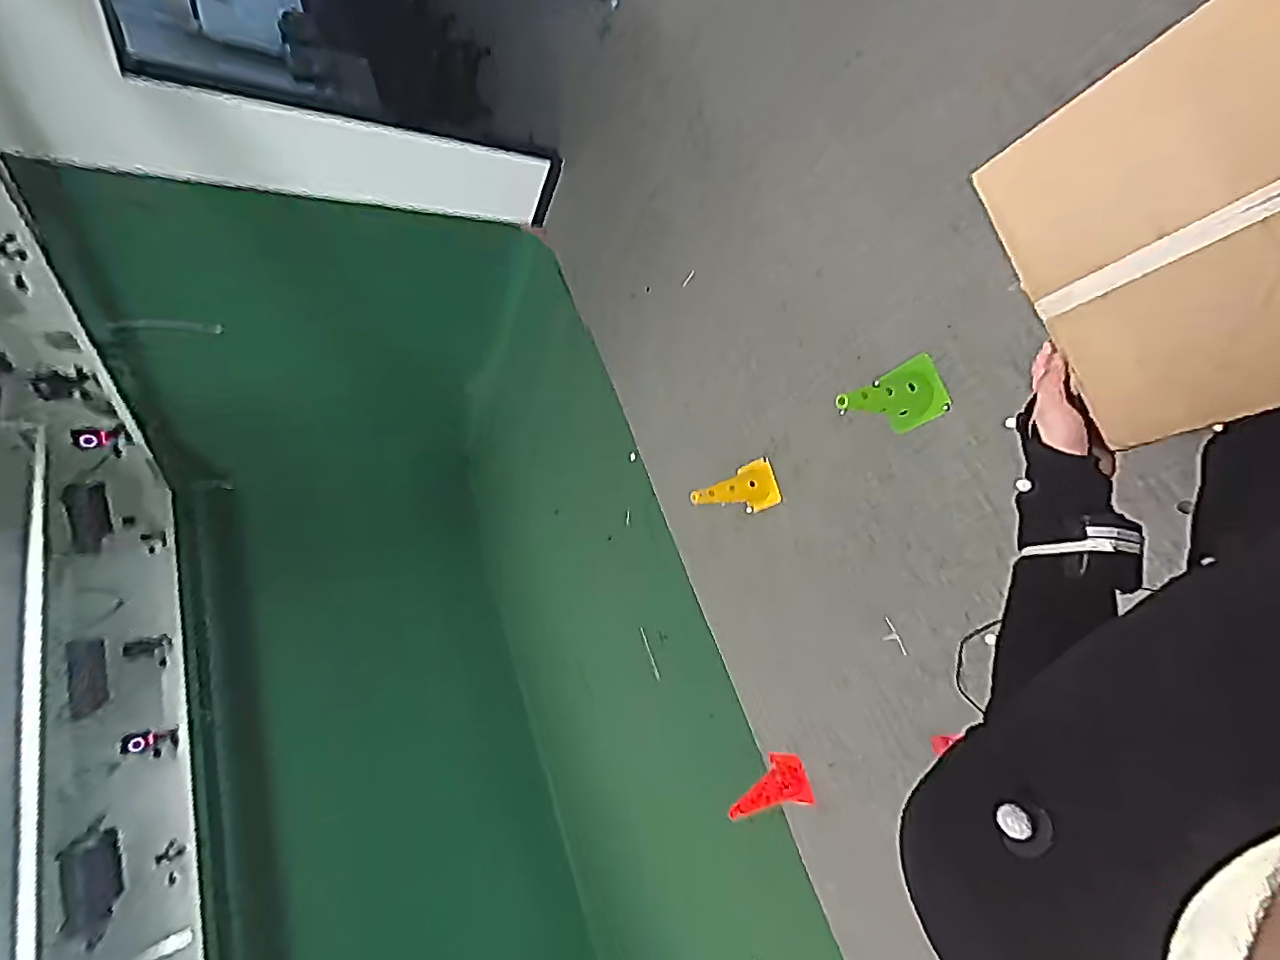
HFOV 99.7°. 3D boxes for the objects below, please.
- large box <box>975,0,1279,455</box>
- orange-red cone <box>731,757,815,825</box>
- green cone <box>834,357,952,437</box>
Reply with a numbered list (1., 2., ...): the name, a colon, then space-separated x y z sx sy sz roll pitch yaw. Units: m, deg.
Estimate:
1. large box: 0.625 -0.262 0.491 0.408 0.320 0.320 -32 80 51
2. orange-red cone: 0.528 1.347 2.270 0.198 0.360 0.199 -36 69 55
3. green cone: 0.716 -0.236 1.618 0.202 0.368 0.200 -39 64 55
